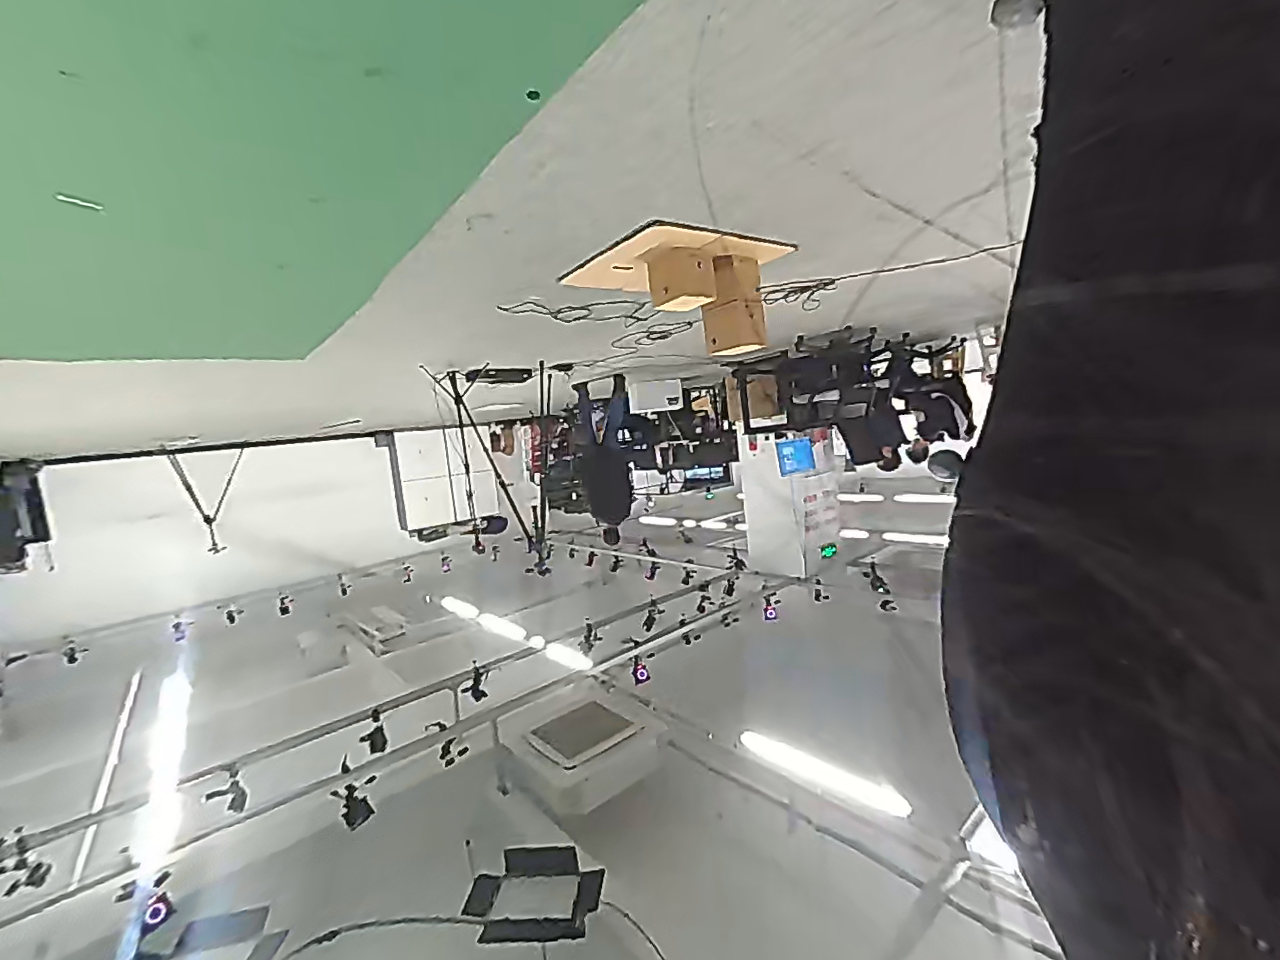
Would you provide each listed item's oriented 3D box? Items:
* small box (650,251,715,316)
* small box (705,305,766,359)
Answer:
[{"bbox_3d":[0.149,-0.701,1.943,0.168,0.176,0.179,-9,-176,-36],"label":"small box"},{"bbox_3d":[0.367,-0.570,2.098,0.168,0.176,0.179,-12,-174,-40],"label":"small box"}]
